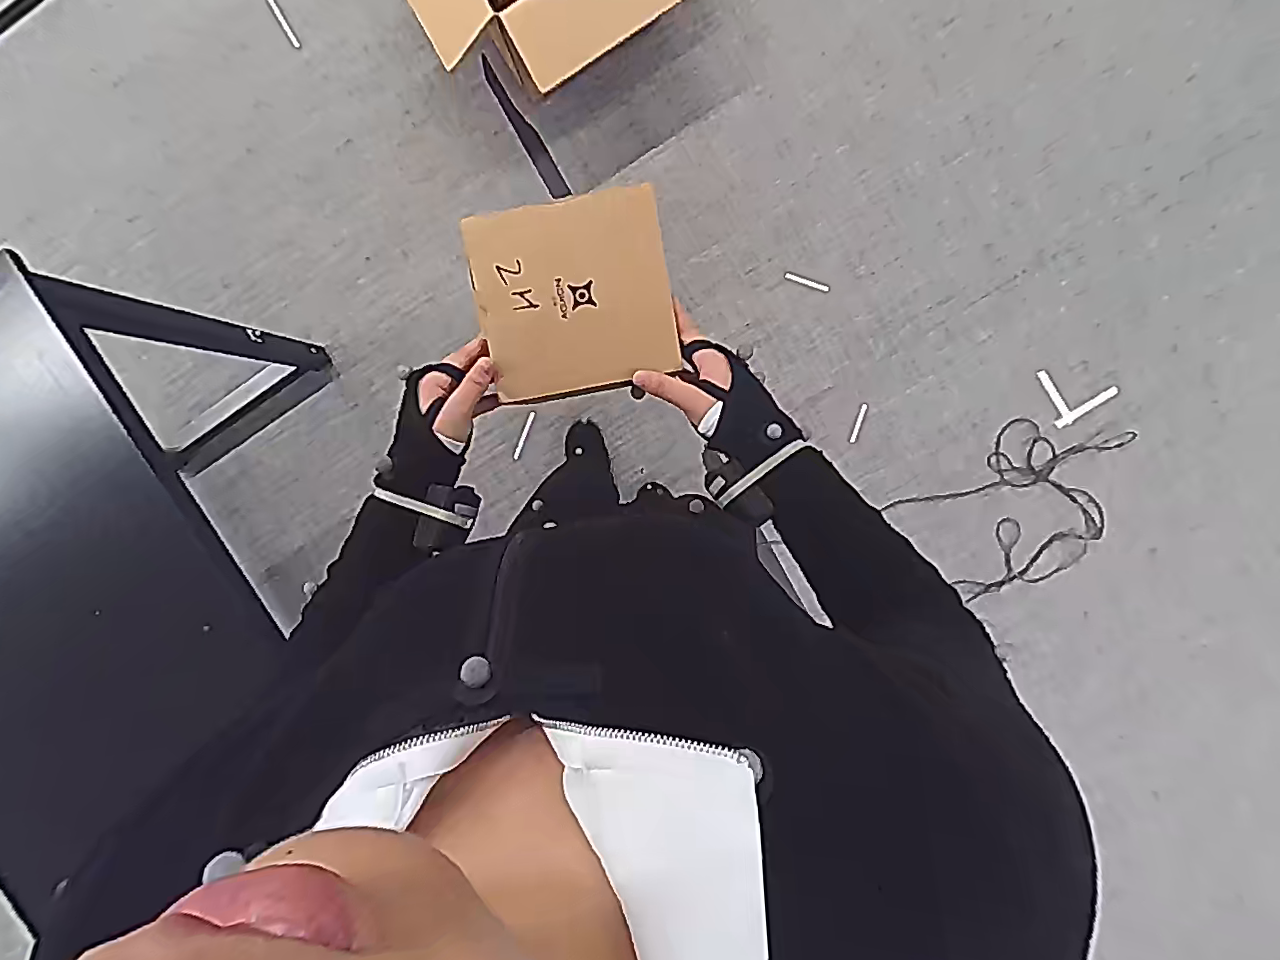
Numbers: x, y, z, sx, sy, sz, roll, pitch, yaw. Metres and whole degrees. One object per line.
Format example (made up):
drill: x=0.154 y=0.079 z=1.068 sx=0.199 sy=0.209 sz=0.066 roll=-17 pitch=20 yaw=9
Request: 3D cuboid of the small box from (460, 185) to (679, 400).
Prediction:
small box: x=-0.062 y=-0.181 z=0.568 sx=0.179 sy=0.176 sz=0.168 roll=-10 pitch=98 yaw=2
